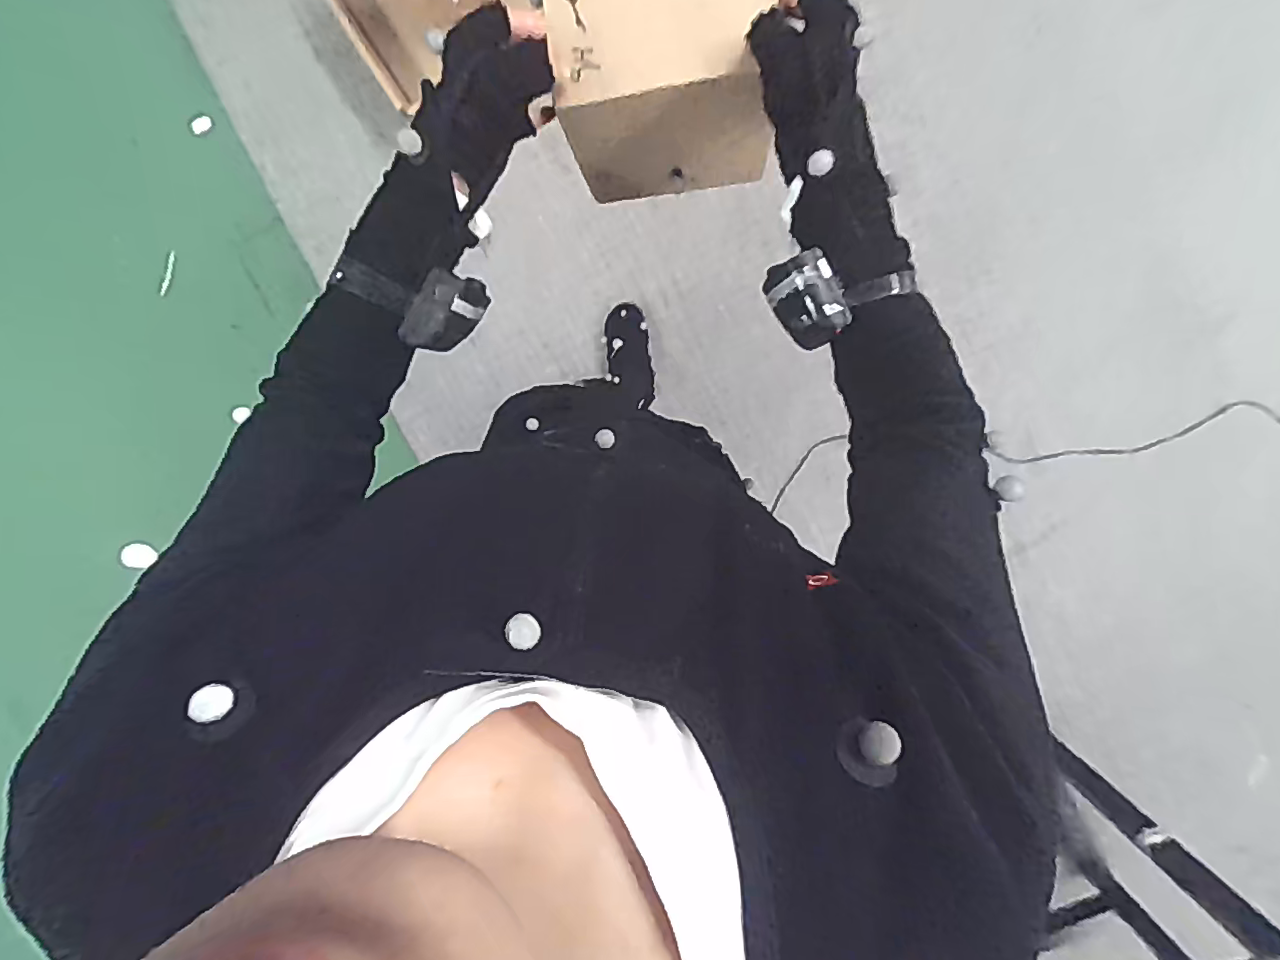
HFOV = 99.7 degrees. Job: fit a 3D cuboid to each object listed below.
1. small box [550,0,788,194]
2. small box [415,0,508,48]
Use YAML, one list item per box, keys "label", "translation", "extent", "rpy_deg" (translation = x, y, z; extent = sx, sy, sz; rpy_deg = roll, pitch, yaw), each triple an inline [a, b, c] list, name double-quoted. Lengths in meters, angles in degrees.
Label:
- label: "small box"
  translation: [0.026, -0.384, 0.482]
  extent: [0.179, 0.176, 0.168]
  rpy_deg: [-5, 93, 8]
- label: "small box"
  translation: [-0.408, -1.085, 1.154]
  extent: [0.179, 0.176, 0.168]
  rpy_deg: [-26, 98, 3]
